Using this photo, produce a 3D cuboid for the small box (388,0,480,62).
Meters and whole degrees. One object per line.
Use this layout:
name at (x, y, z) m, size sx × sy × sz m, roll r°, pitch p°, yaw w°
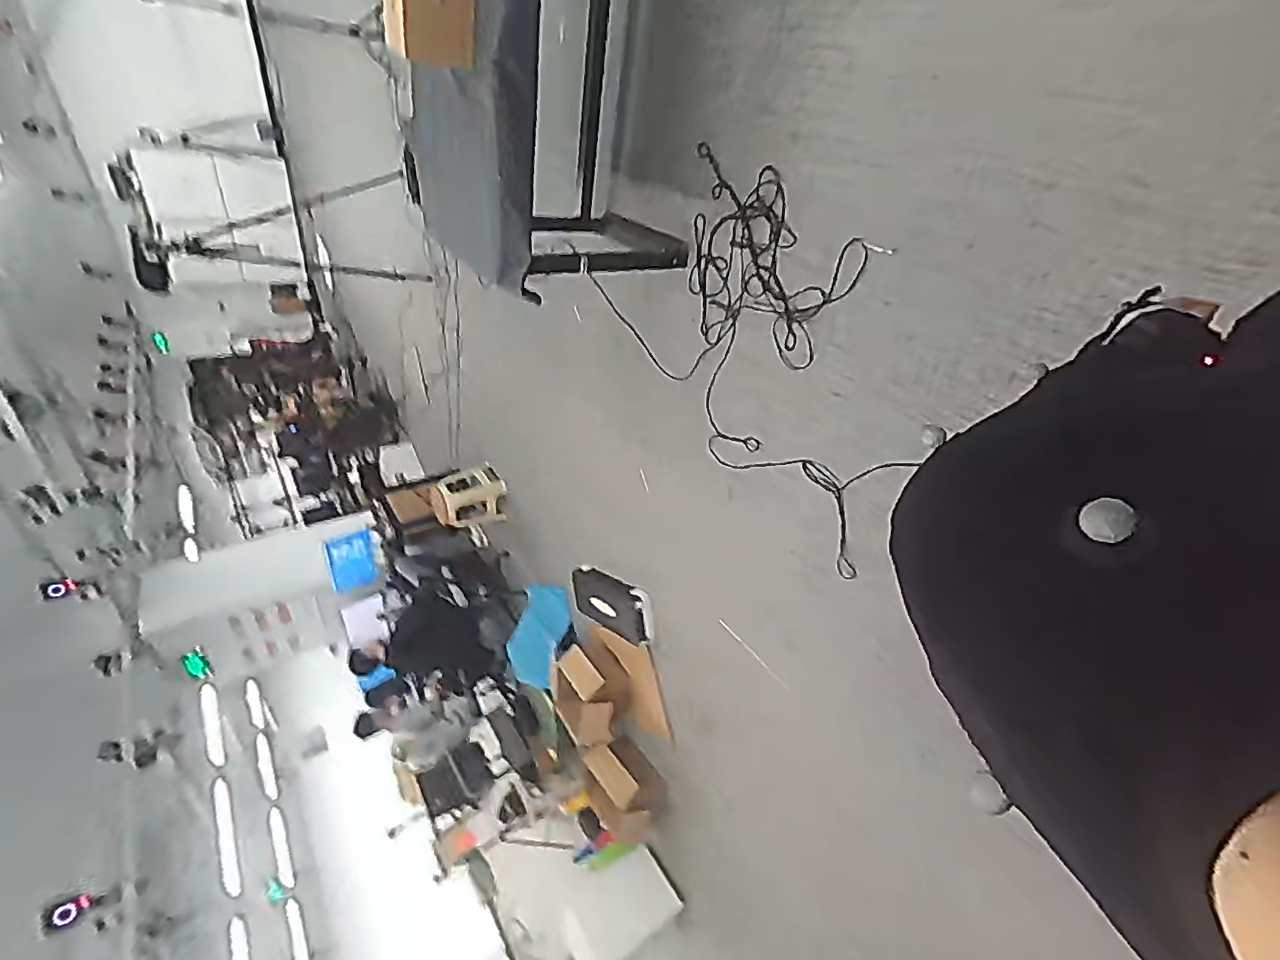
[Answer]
small box at (-0.489, -1.133, 1.288) m, size 0.168 × 0.176 × 0.179 m, roll 51°, pitch 142°, yaw 32°
